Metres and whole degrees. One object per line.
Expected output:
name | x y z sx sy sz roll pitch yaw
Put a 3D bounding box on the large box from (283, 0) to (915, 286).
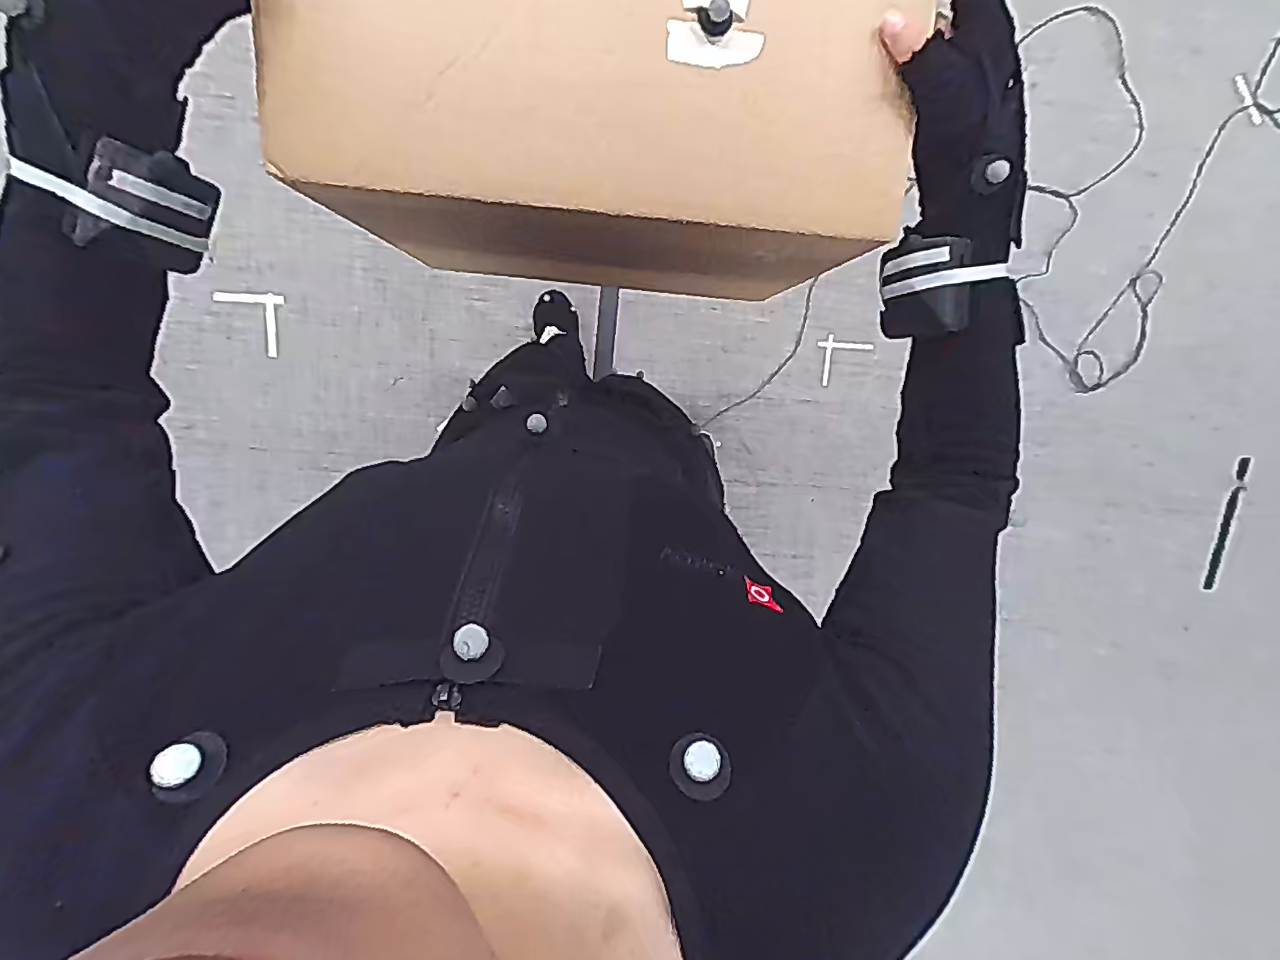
large box | -0.027 -0.369 0.479 0.408 0.320 0.320 4 102 -5
